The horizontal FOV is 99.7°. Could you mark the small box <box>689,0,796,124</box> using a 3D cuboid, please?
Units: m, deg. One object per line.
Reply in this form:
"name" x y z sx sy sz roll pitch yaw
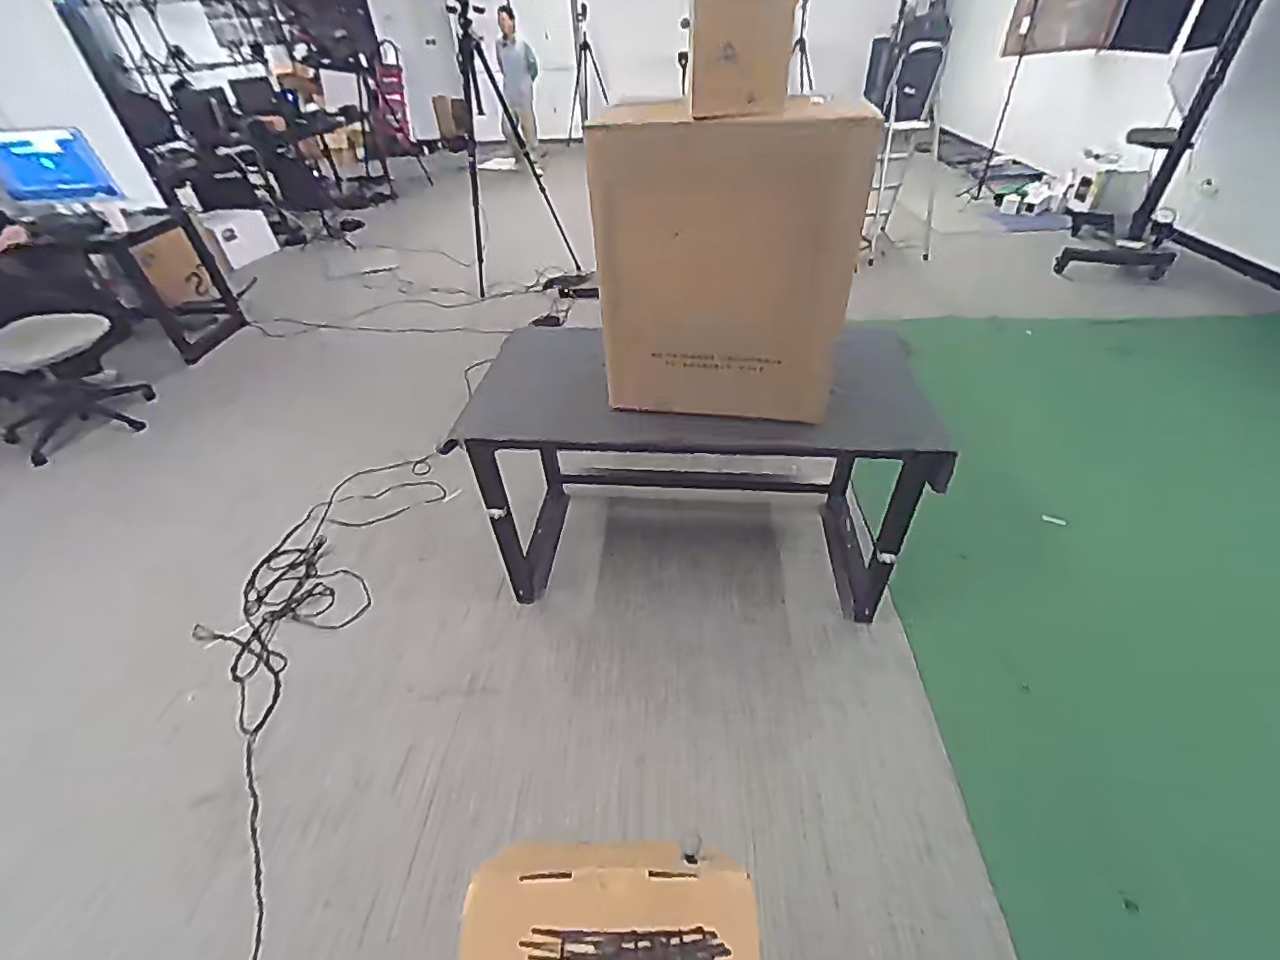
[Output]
"small box" 0.173 -0.744 0.961 0.168 0.176 0.179 -1 42 3
